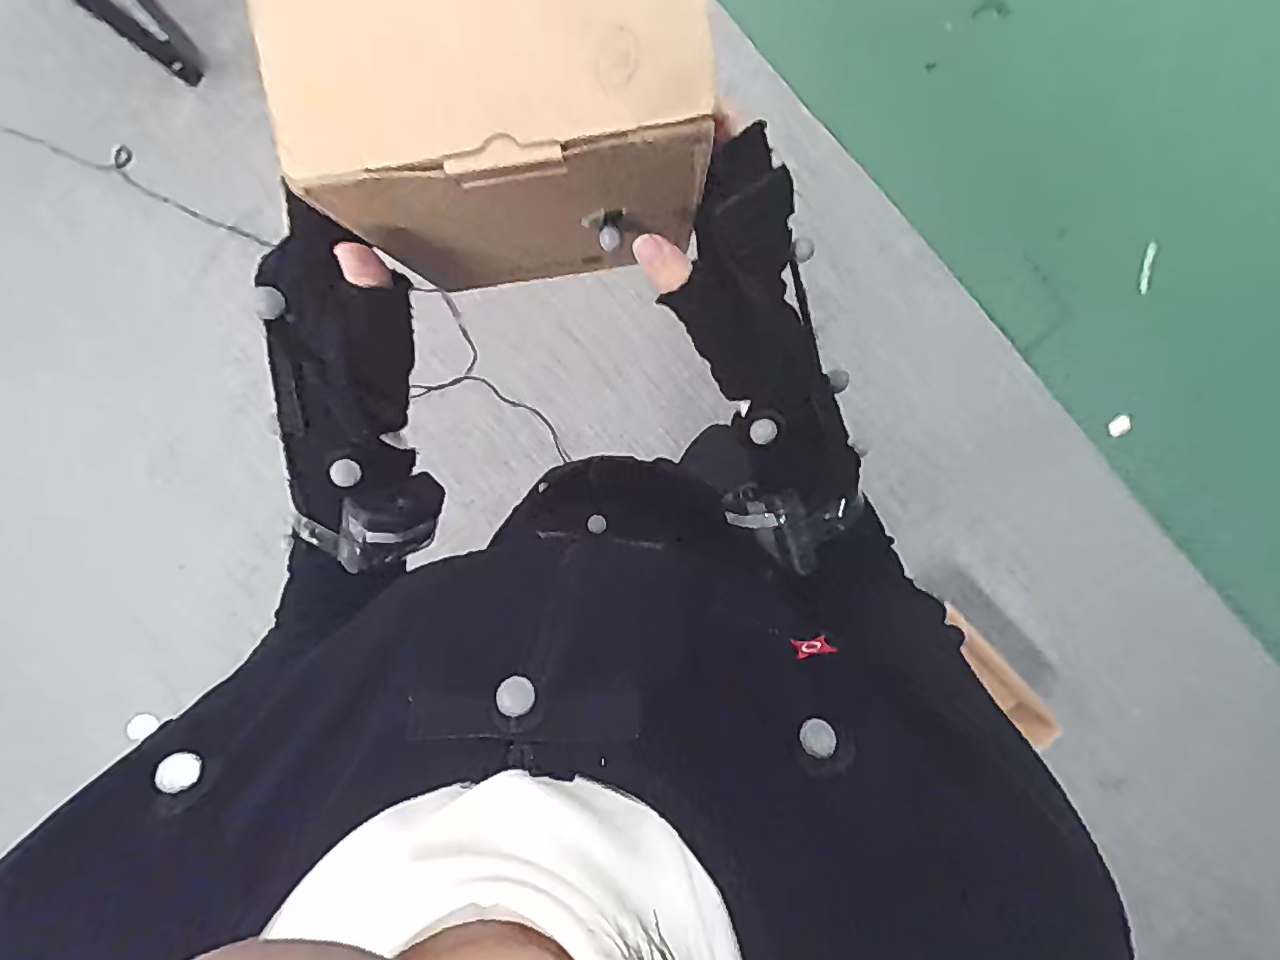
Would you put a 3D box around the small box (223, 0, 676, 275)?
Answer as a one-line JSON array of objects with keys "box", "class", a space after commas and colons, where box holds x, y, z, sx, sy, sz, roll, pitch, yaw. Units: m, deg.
[{"box": [-0.075, -0.217, 0.276, 0.168, 0.176, 0.179, -8, 95, 0], "class": "small box"}]
